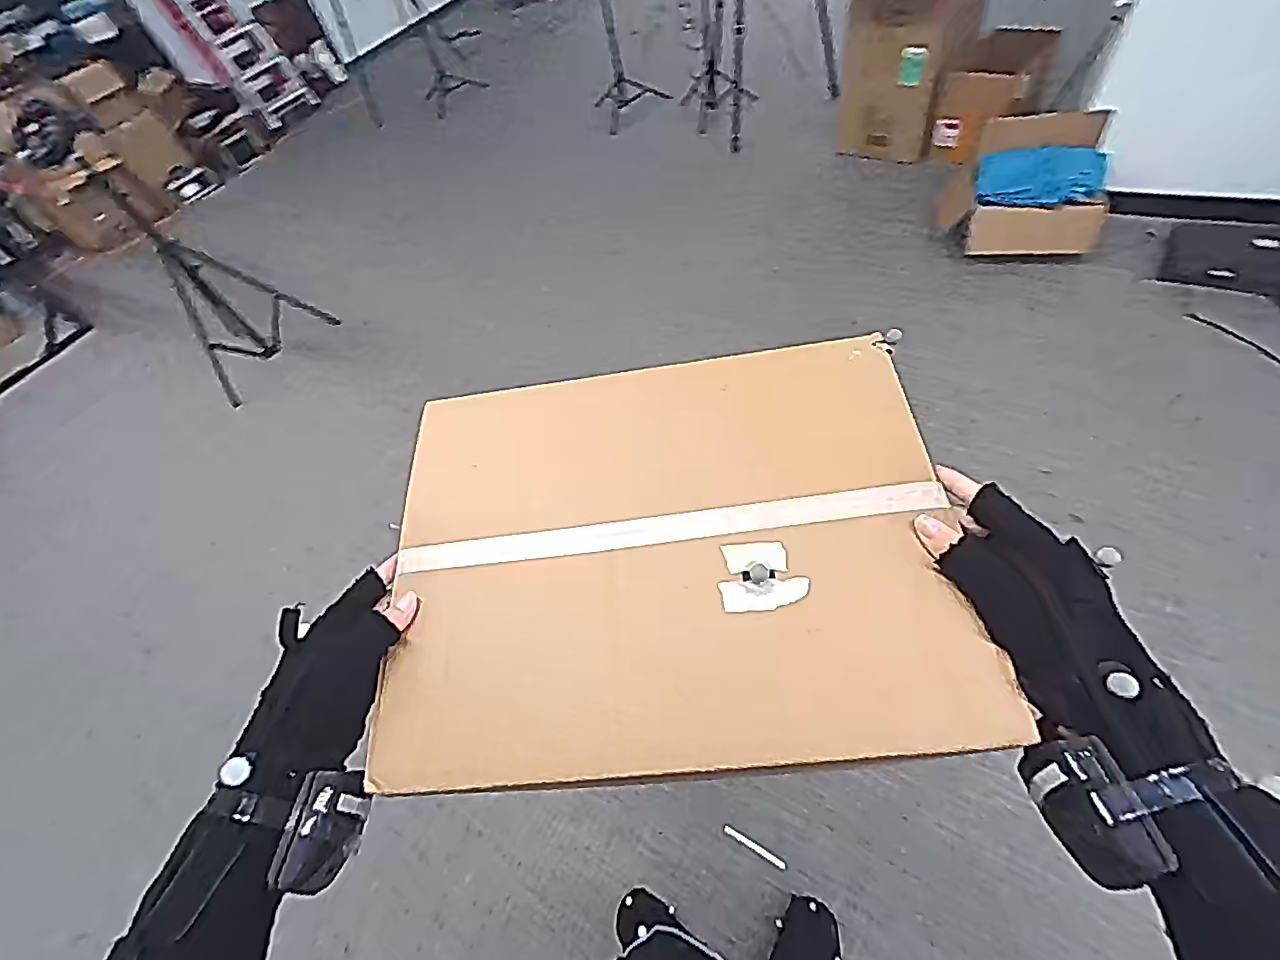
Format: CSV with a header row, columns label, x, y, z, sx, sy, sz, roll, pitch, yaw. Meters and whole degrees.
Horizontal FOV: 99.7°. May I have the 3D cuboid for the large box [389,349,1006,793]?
label,x,y,z,sx,sy,sz,roll,pitch,yaw
large box,0.035,0.117,0.543,0.408,0.320,0.320,-8,60,5
